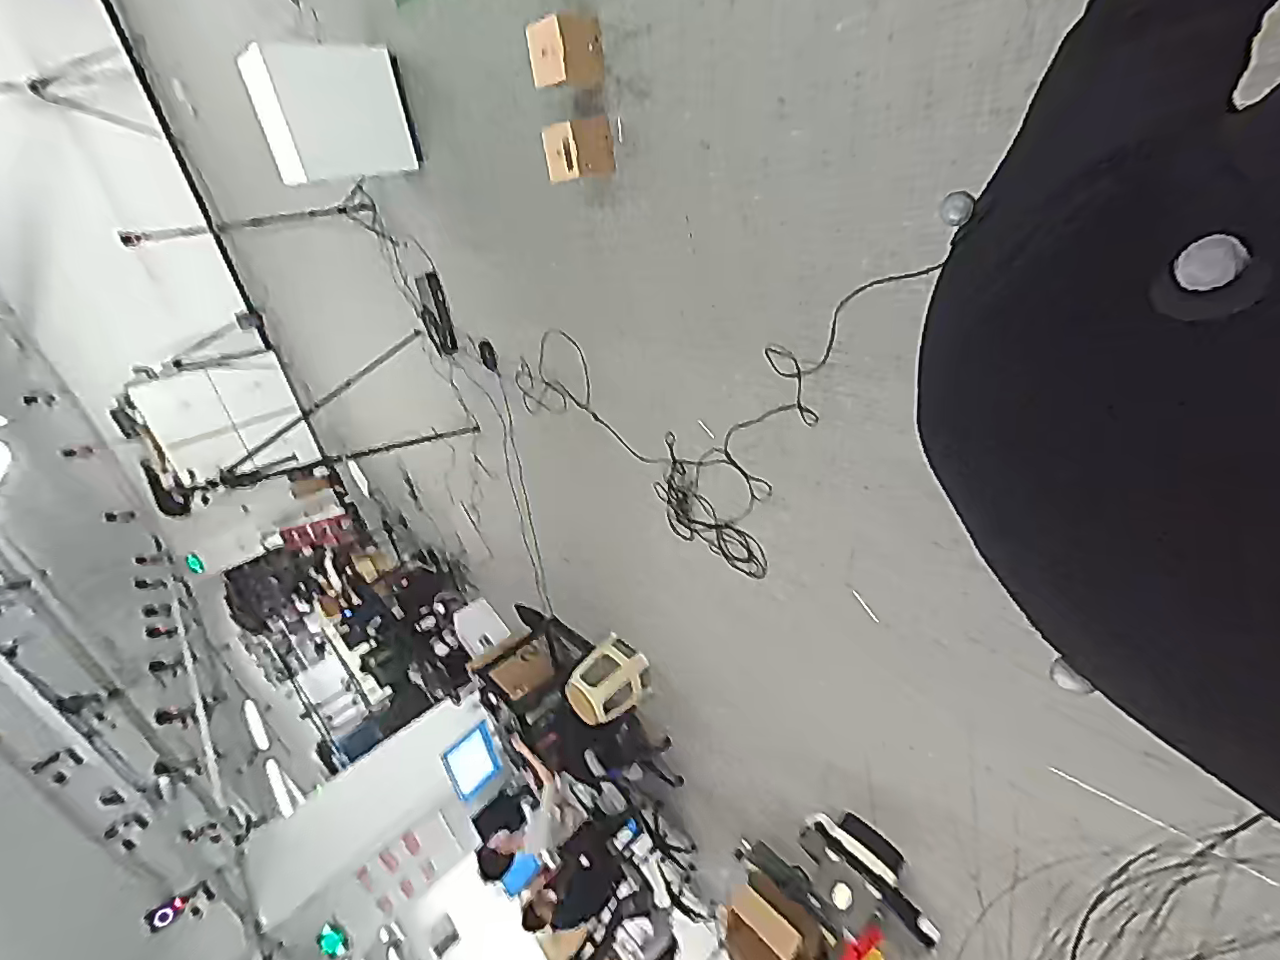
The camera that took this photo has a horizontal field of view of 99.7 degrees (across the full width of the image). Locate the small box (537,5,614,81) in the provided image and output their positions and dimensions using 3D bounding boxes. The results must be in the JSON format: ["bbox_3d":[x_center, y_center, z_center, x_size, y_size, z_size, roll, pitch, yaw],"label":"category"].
[{"bbox_3d":[-0.210,-1.425,1.774,0.179,0.176,0.168,23,132,41],"label":"small box"}]
